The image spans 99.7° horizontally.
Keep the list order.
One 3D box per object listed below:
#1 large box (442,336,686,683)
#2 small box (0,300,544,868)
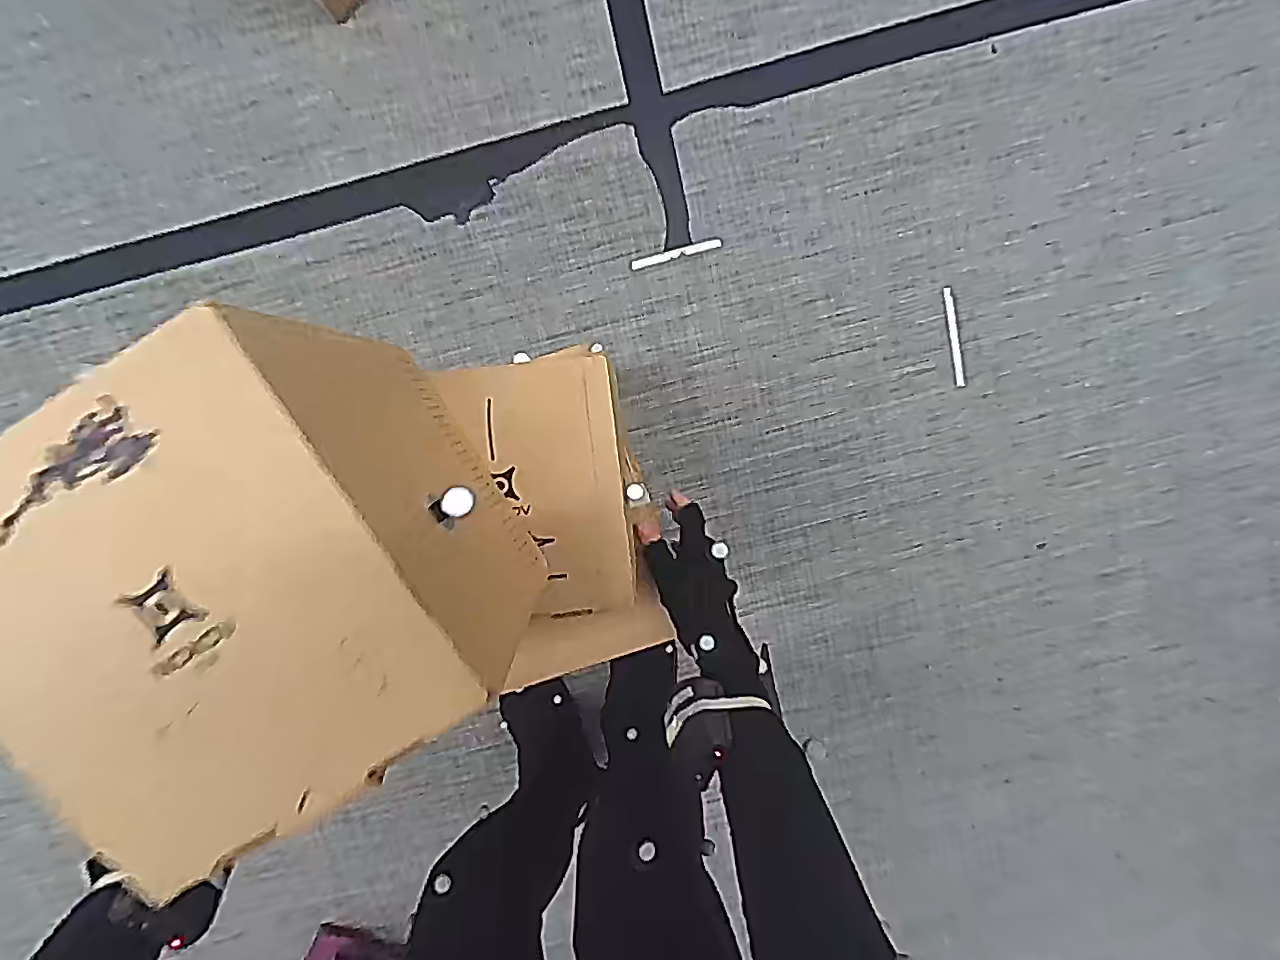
[{"bbox_3d":[-0.193,0.049,0.695,0.408,0.320,0.320,-19,99,0],"label":"large box"},{"bbox_3d":[-0.169,0.035,0.284,0.168,0.176,0.179,-32,98,2],"label":"small box"}]
